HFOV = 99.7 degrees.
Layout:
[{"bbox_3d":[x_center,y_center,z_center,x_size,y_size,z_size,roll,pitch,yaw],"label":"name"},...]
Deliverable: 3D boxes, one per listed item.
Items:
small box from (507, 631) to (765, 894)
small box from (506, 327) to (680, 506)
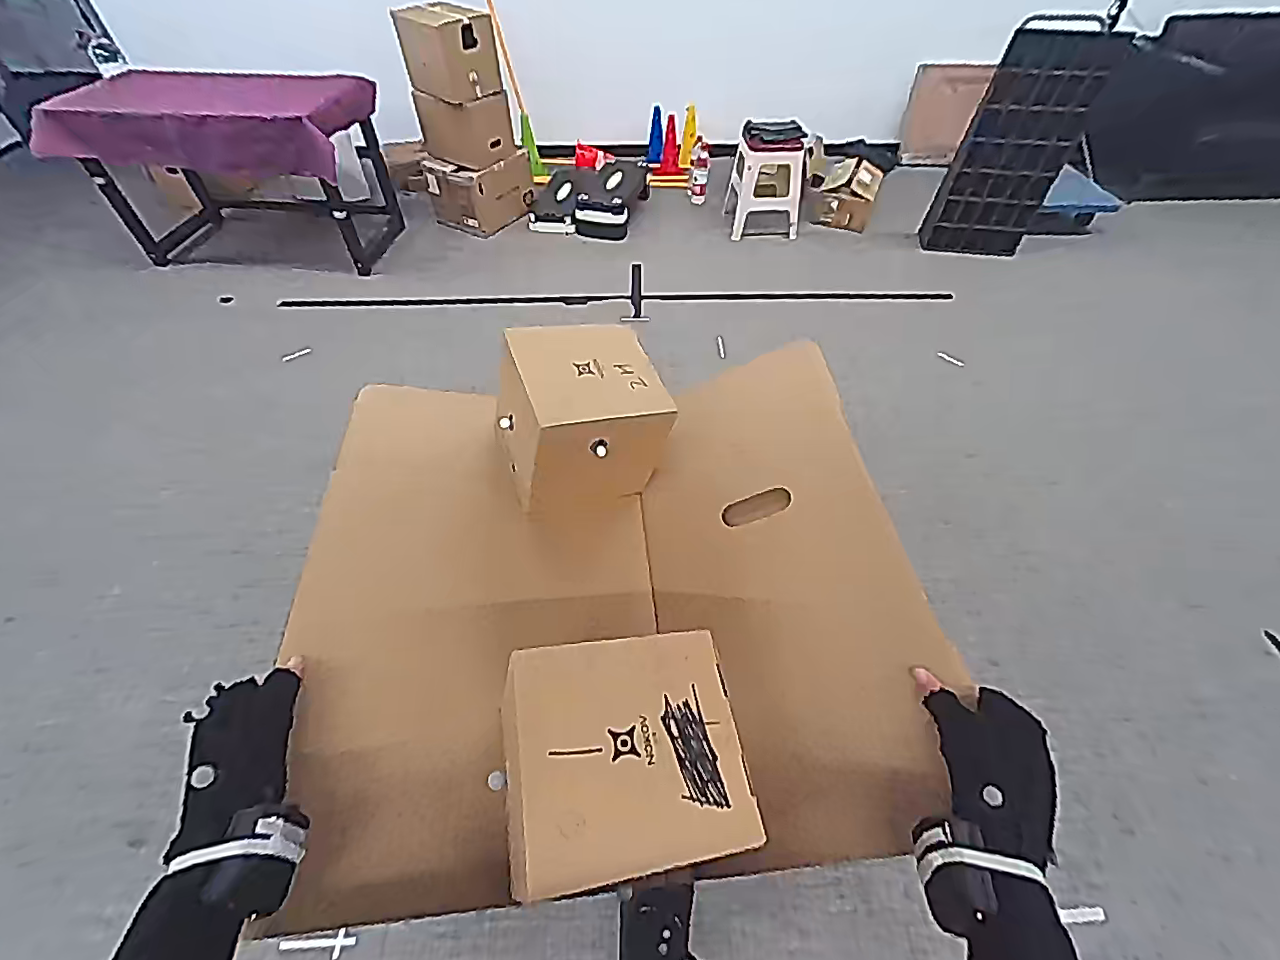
[{"bbox_3d":[-0.021,0.248,0.483,0.179,0.176,0.168,-1,55,-18],"label":"small box"},{"bbox_3d":[-0.075,-0.082,0.718,0.179,0.176,0.168,-9,57,-25],"label":"small box"}]
